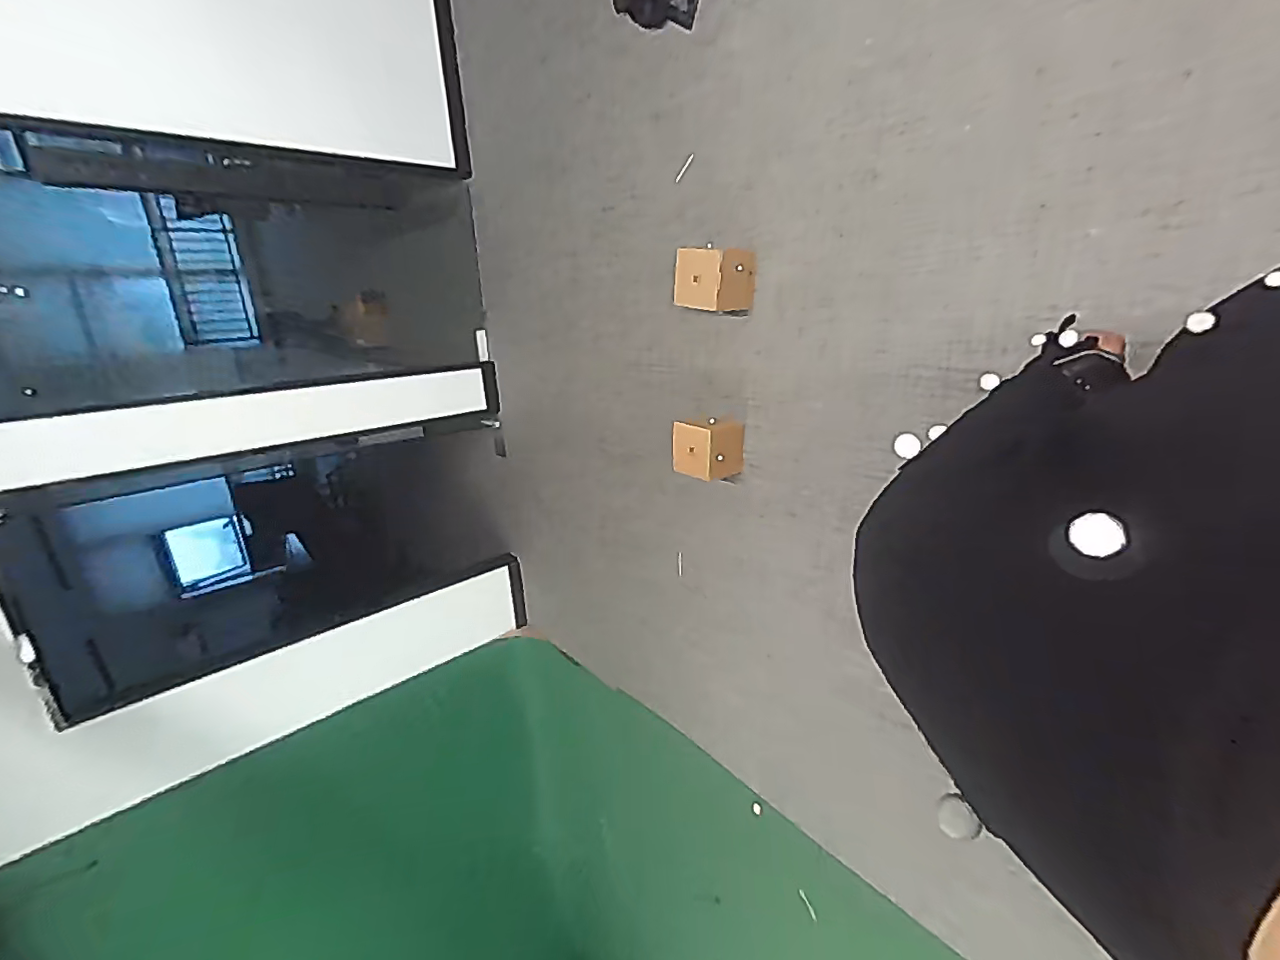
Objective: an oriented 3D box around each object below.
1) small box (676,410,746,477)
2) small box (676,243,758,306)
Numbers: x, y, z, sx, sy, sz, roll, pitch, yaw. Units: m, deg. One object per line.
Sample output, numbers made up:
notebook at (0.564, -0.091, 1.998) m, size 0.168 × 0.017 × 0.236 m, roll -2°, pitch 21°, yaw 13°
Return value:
small box at (0.238, -0.130, 1.806) m, size 0.168 × 0.176 × 0.179 m, roll 21°, pitch 120°, yaw 45°
small box at (0.232, -0.619, 1.621) m, size 0.179 × 0.176 × 0.168 m, roll 26°, pitch 122°, yaw 44°
